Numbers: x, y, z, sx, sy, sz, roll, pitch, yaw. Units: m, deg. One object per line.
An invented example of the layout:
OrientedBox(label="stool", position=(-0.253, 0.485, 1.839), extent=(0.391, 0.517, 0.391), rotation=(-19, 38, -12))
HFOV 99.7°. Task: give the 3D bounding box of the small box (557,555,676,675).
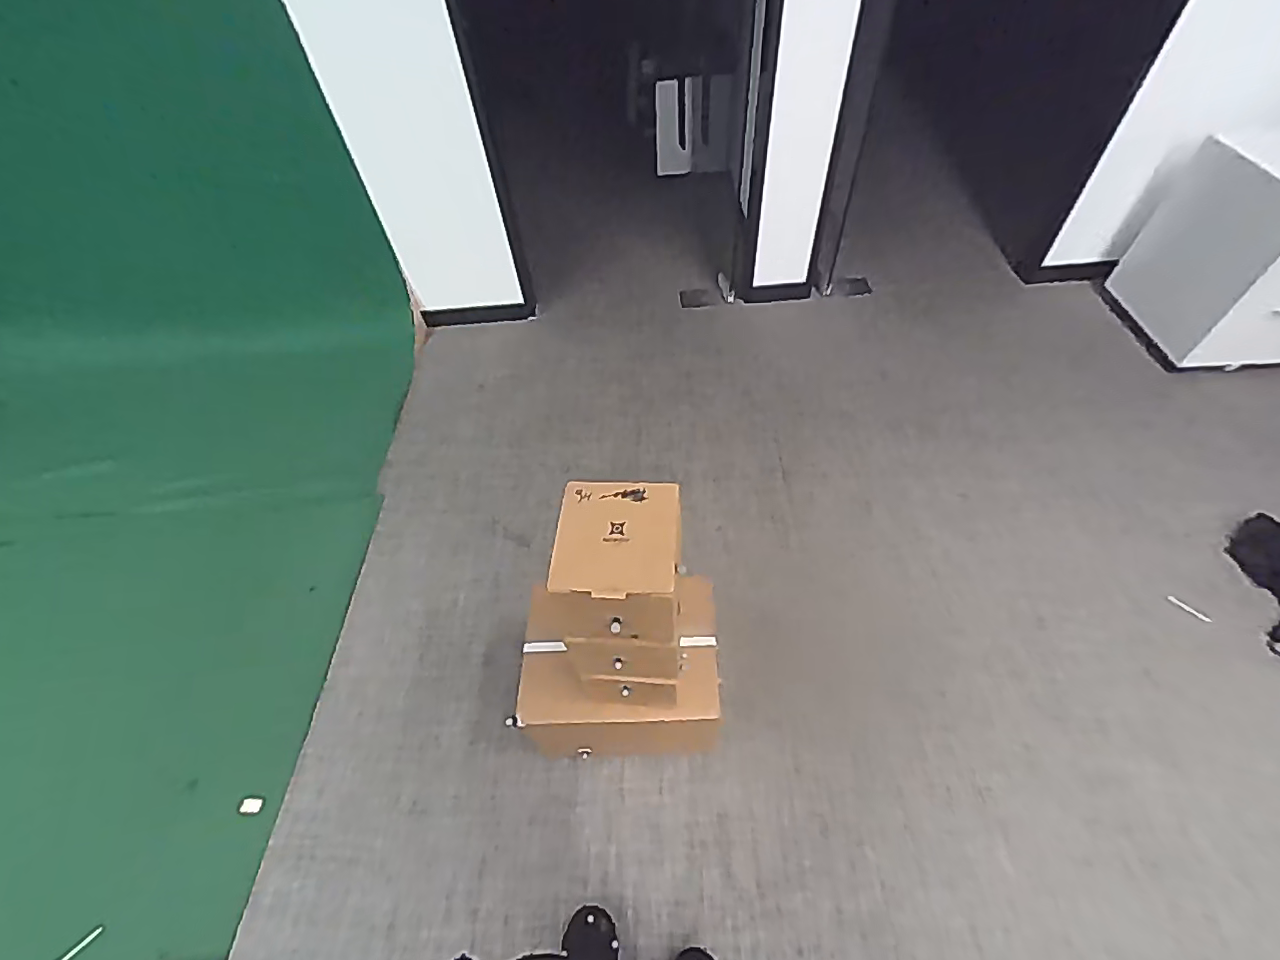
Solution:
OrientedBox(label="small box", position=(-0.028, 0.226, 0.925), extent=(0.179, 0.176, 0.168), rotation=(1, 54, 6))

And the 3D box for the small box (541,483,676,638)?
OrientedBox(label="small box", position=(-0.034, 0.123, 0.798), extent=(0.168, 0.176, 0.179), rotation=(2, 55, 6))

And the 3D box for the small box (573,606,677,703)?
OrientedBox(label="small box", position=(-0.021, 0.326, 1.054), extent=(0.179, 0.176, 0.168), rotation=(3, 55, 5))
